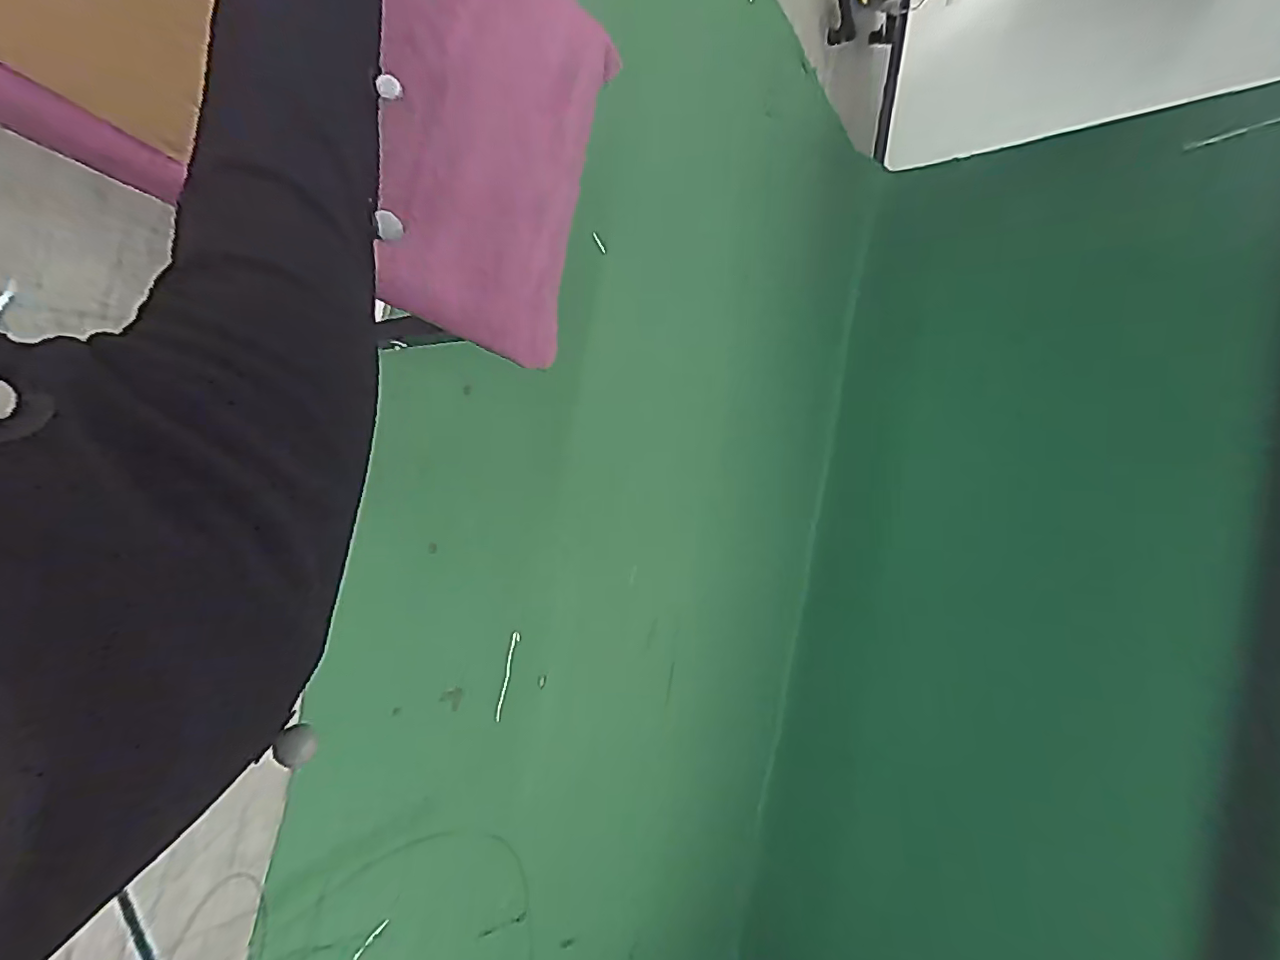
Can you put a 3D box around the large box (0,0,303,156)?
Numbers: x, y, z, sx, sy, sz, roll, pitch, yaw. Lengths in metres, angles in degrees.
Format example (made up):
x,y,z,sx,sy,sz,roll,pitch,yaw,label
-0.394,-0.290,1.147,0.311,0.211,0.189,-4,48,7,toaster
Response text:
x,y,z,sx,sy,sz,roll,pitch,yaw,label
-0.440,-0.563,0.412,0.320,0.320,0.408,20,81,-49,large box
